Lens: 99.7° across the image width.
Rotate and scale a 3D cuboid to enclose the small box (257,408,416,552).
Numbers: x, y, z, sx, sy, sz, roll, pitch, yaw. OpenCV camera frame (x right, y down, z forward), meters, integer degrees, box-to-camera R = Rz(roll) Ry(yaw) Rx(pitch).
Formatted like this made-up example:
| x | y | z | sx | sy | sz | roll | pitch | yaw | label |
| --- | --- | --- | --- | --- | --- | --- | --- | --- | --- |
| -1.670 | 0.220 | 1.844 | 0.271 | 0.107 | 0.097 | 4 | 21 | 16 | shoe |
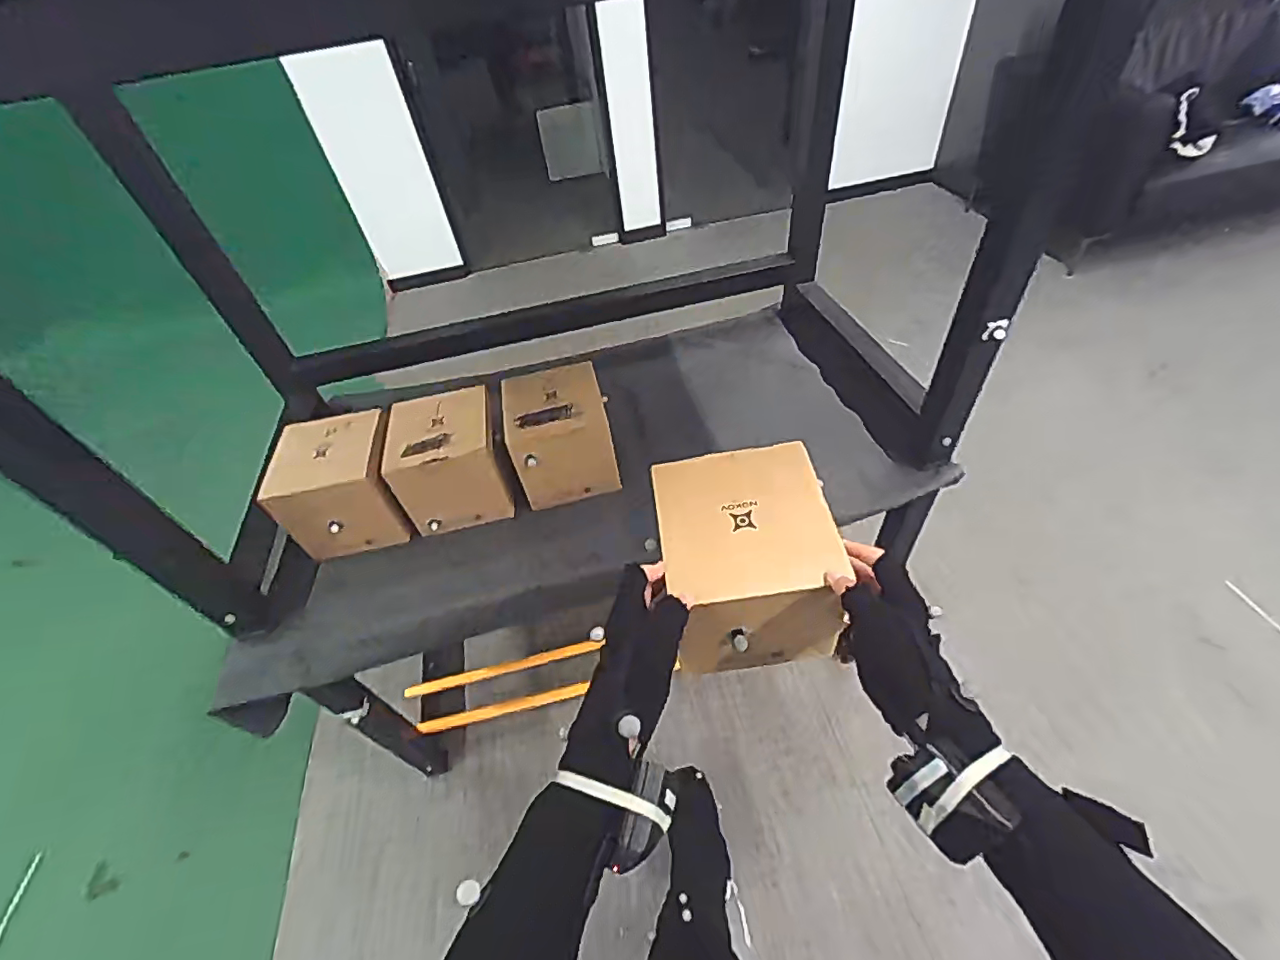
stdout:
| x | y | z | sx | sy | sz | roll | pitch | yaw | label |
| --- | --- | --- | --- | --- | --- | --- | --- | --- | --- |
| -0.500 | 0.007 | 0.925 | 0.168 | 0.176 | 0.179 | -11 | 47 | -3 | small box |
